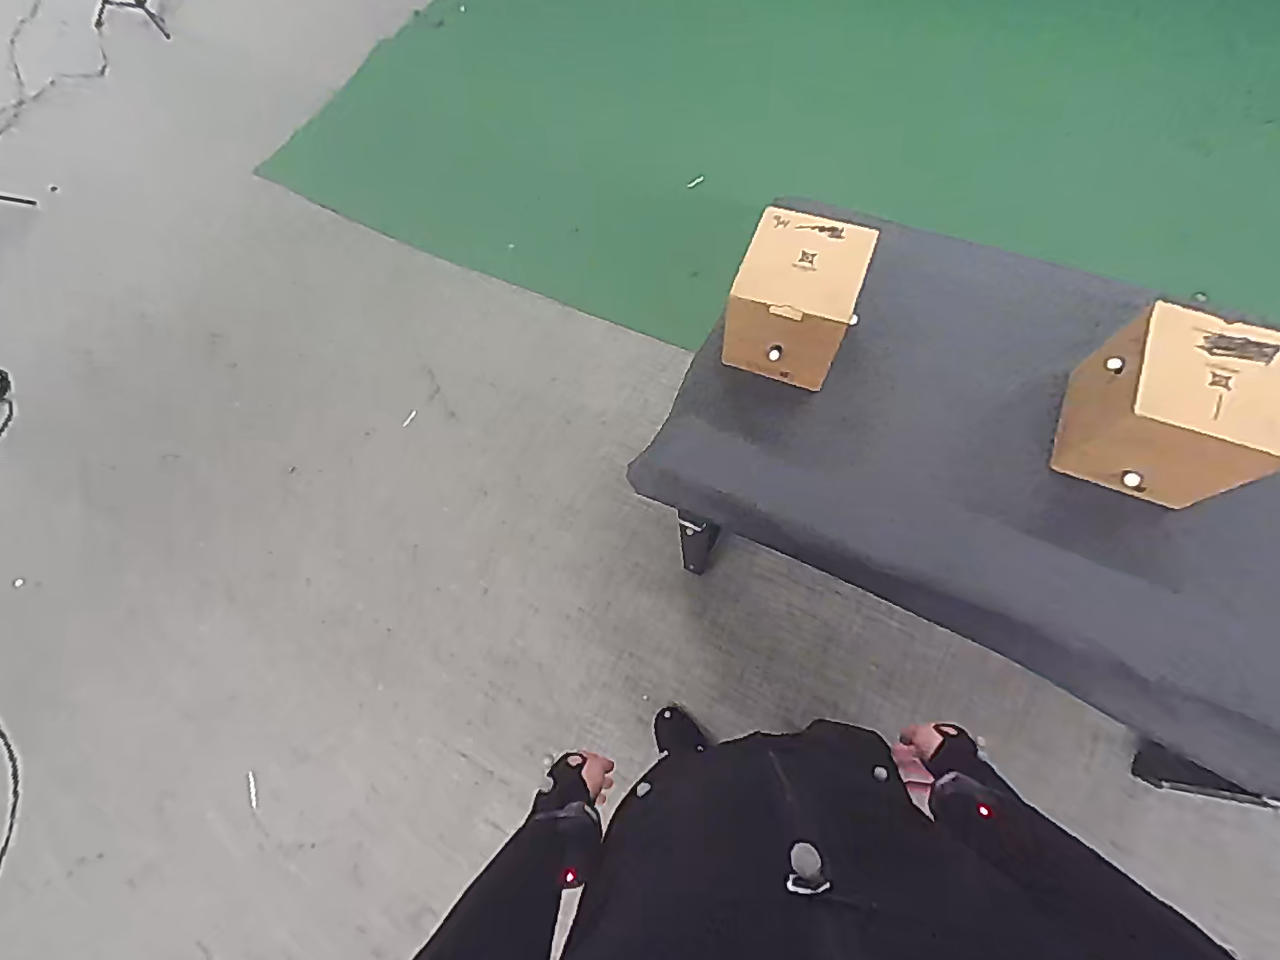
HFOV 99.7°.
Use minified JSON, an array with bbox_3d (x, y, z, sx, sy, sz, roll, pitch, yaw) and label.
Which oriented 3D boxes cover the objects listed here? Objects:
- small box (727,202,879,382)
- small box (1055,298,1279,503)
[{"bbox_3d":[0.237,-0.277,0.823,0.168,0.176,0.179,20,72,13],"label":"small box"},{"bbox_3d":[0.687,-0.096,0.704,0.168,0.176,0.179,22,73,14],"label":"small box"}]
